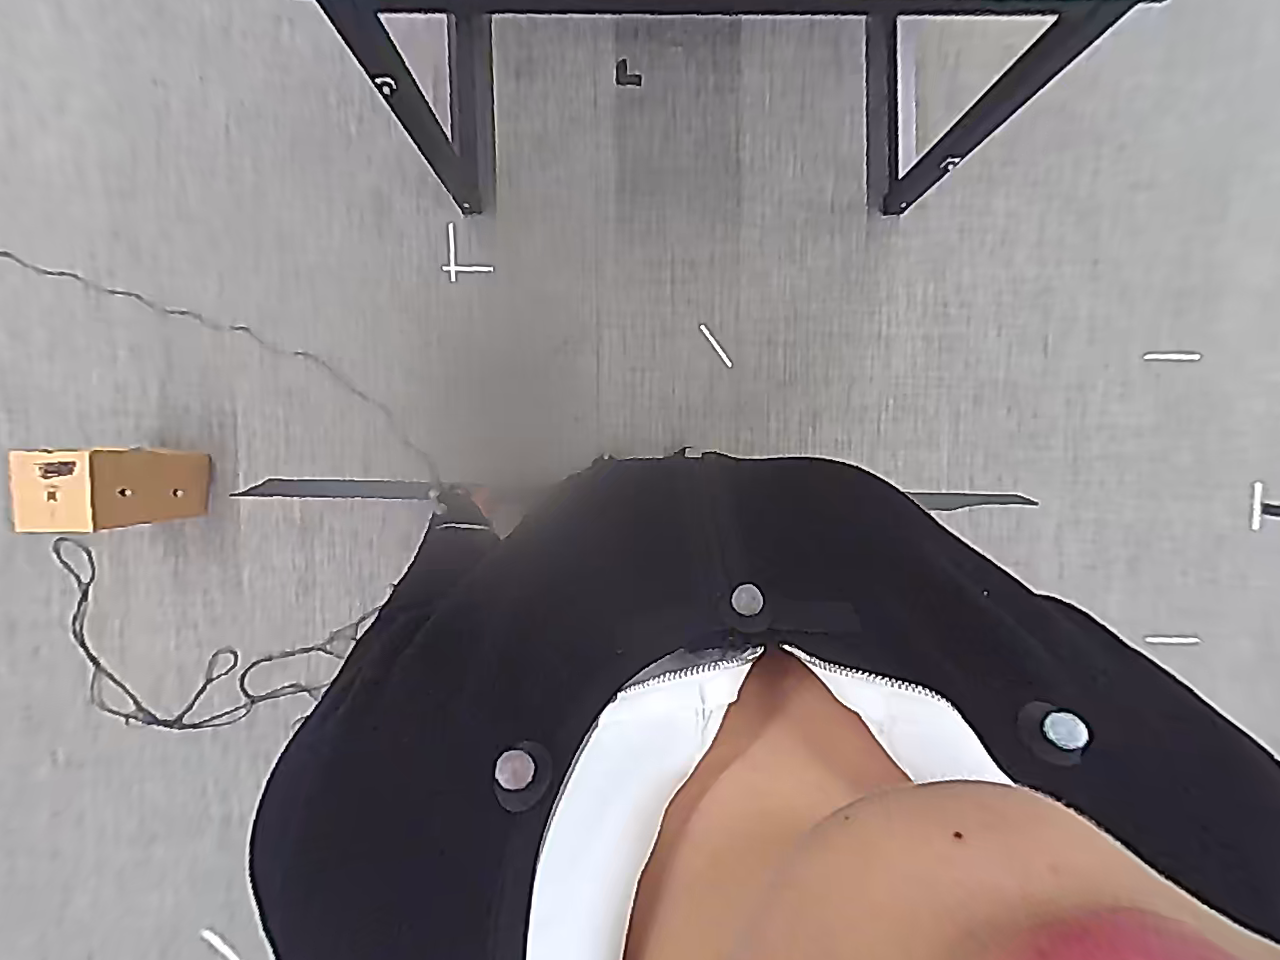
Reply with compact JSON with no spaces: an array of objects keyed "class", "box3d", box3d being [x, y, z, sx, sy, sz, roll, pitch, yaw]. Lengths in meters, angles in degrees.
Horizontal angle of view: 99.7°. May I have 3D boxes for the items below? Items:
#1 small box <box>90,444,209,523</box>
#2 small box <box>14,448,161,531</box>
[{"class":"small box","box3d":[-1.251,0.004,1.385,0.168,0.176,0.179,7,93,-2]},{"class":"small box","box3d":[-1.235,0.017,1.221,0.168,0.176,0.179,0,93,-1]}]
